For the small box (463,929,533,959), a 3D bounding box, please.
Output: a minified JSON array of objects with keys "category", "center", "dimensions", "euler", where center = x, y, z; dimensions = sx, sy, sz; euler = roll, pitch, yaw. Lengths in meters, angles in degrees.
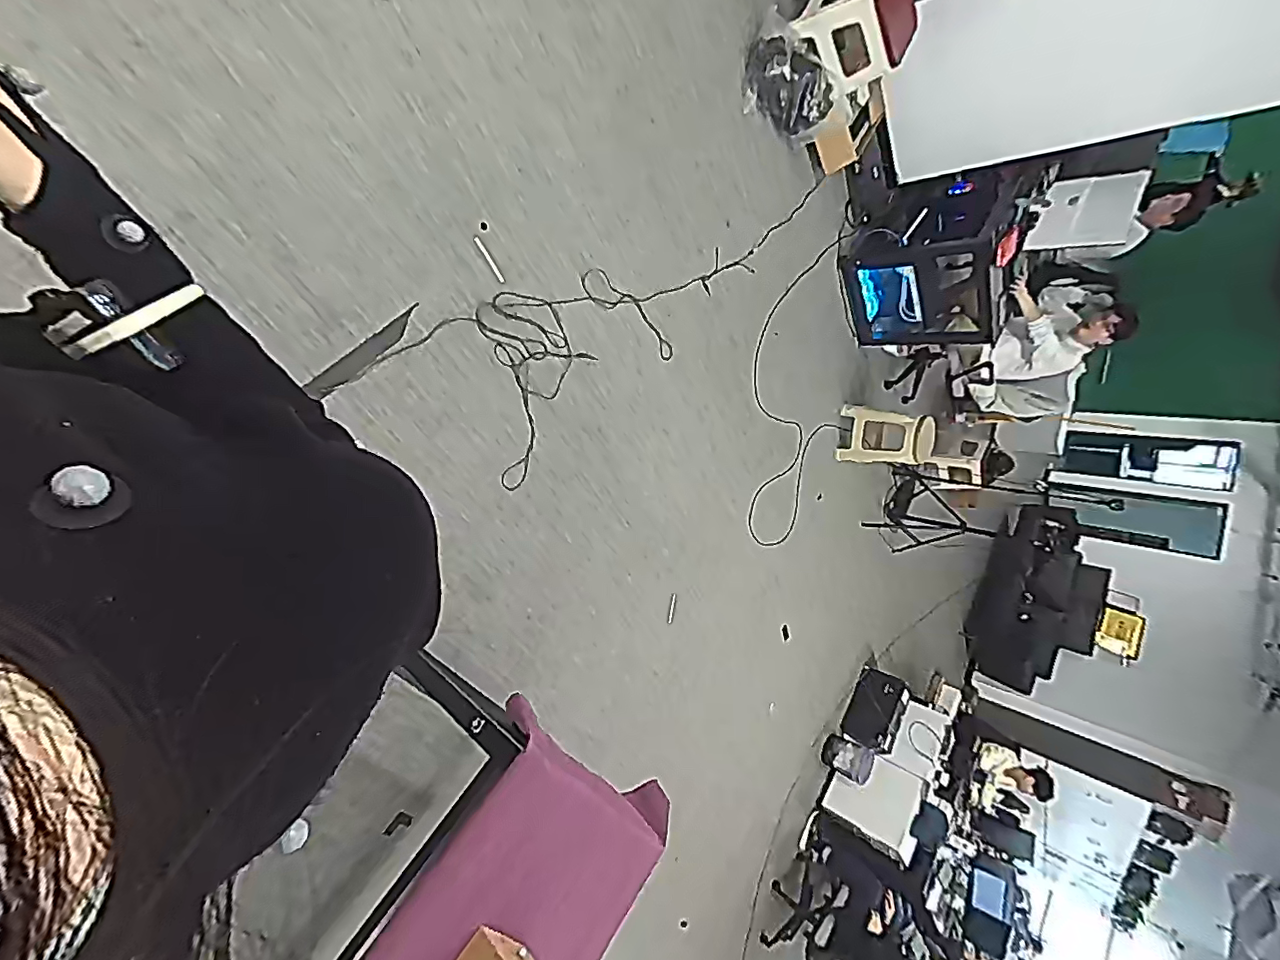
[{"category":"small box","center":[-0.255,0.964,0.959],"dimensions":[0.179,0.176,0.168],"euler":[-48,129,-27]}]
